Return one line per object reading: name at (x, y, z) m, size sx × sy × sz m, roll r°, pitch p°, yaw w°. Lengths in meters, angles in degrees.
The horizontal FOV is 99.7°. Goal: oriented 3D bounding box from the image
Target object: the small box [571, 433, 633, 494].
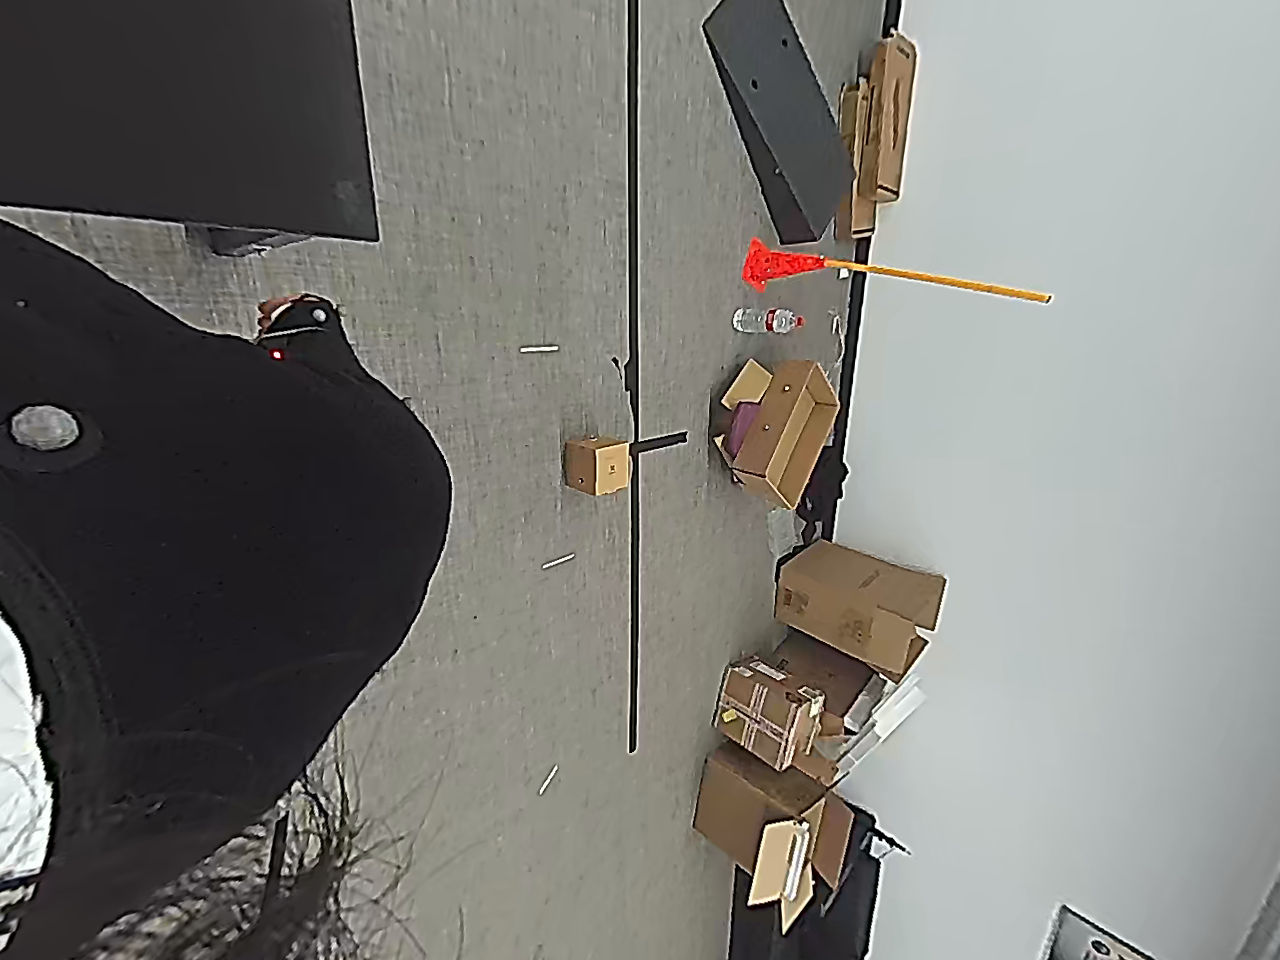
small box at (-0.141, -0.064, 1.988) m, size 0.168 × 0.176 × 0.179 m, roll -18°, pitch 115°, yaw -43°
